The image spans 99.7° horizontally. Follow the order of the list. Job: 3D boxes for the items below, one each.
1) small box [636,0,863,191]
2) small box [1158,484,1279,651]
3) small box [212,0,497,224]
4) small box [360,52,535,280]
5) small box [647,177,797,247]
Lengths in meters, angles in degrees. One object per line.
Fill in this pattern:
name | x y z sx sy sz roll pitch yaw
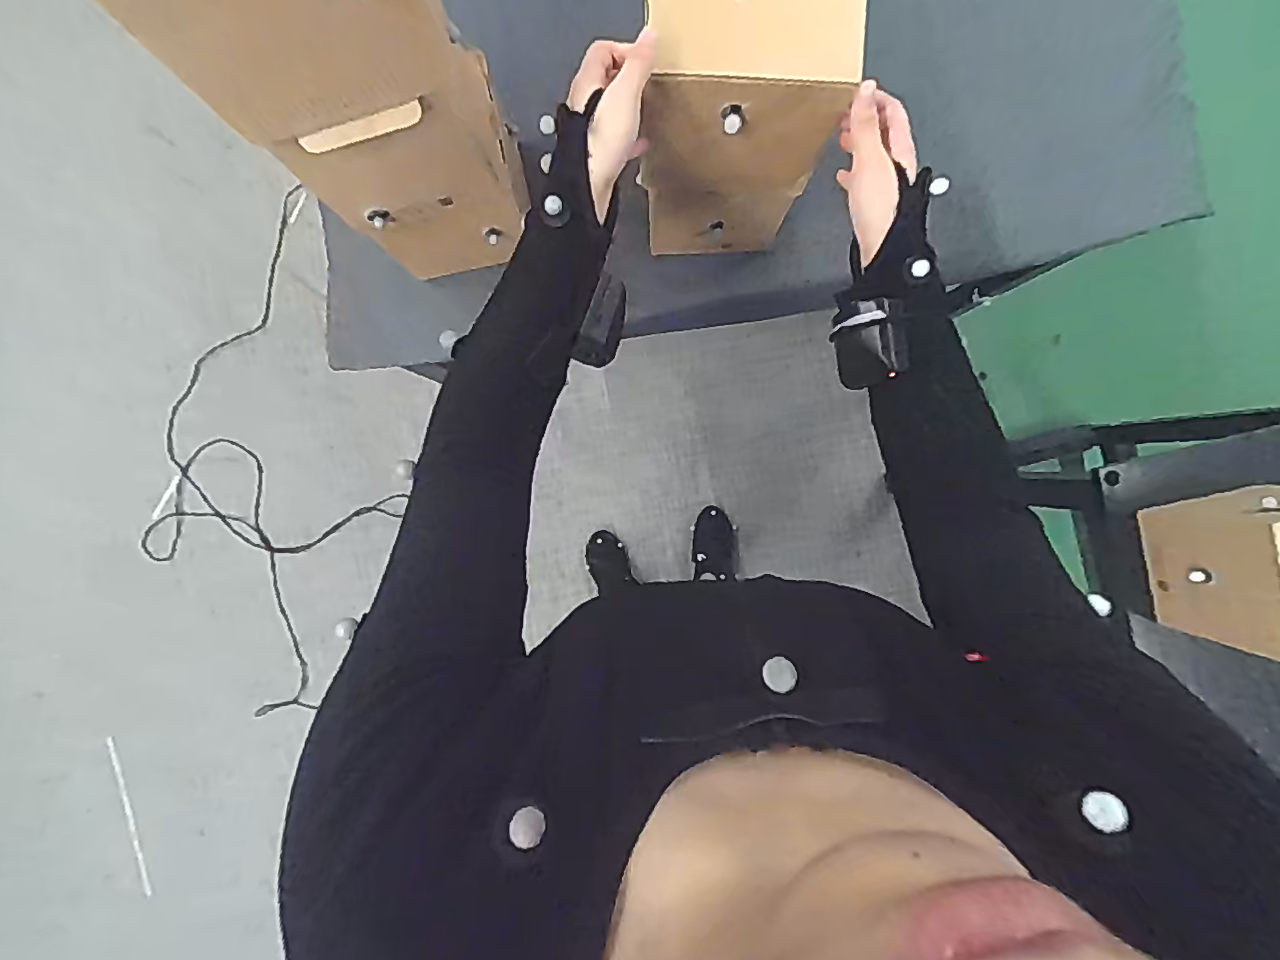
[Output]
small box | 0.091 -0.394 0.503 0.179 0.176 0.168 3 90 3
small box | 0.790 0.103 0.659 0.179 0.176 0.168 -12 92 1
small box | -0.253 -0.371 0.513 0.168 0.176 0.179 -17 88 1
small box | -0.240 -0.375 0.677 0.179 0.176 0.168 -13 89 2
small box | 0.091 -0.403 0.667 0.168 0.176 0.179 -2 91 2
